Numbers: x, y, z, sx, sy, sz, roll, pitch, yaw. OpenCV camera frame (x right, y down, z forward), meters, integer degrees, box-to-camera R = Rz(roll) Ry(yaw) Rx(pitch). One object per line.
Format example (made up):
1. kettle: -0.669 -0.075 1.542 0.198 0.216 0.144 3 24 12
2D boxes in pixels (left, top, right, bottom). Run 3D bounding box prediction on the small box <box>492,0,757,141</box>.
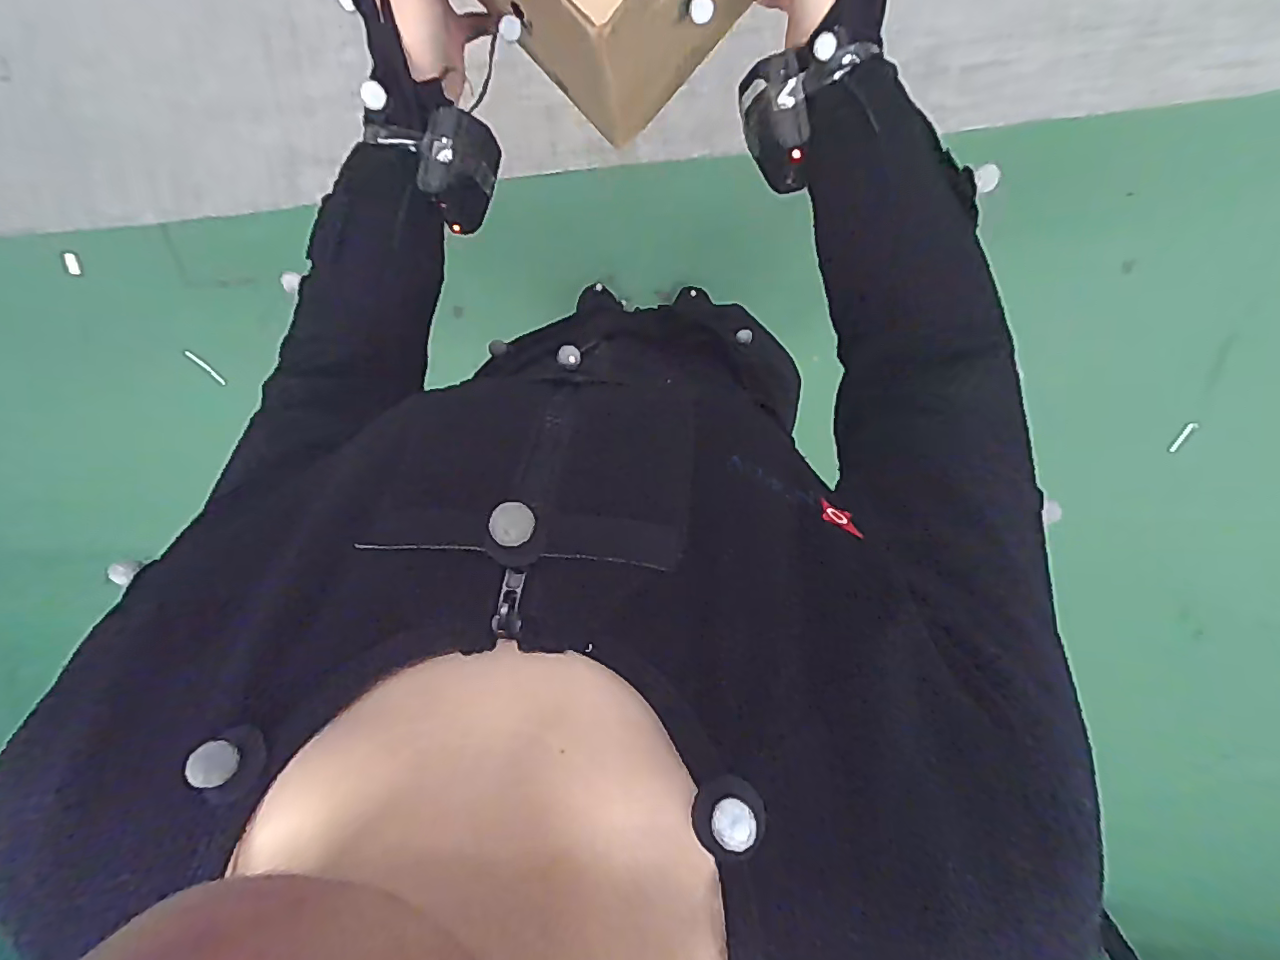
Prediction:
1. small box: -0.013 -0.356 0.330 0.168 0.176 0.179 43 103 -8
